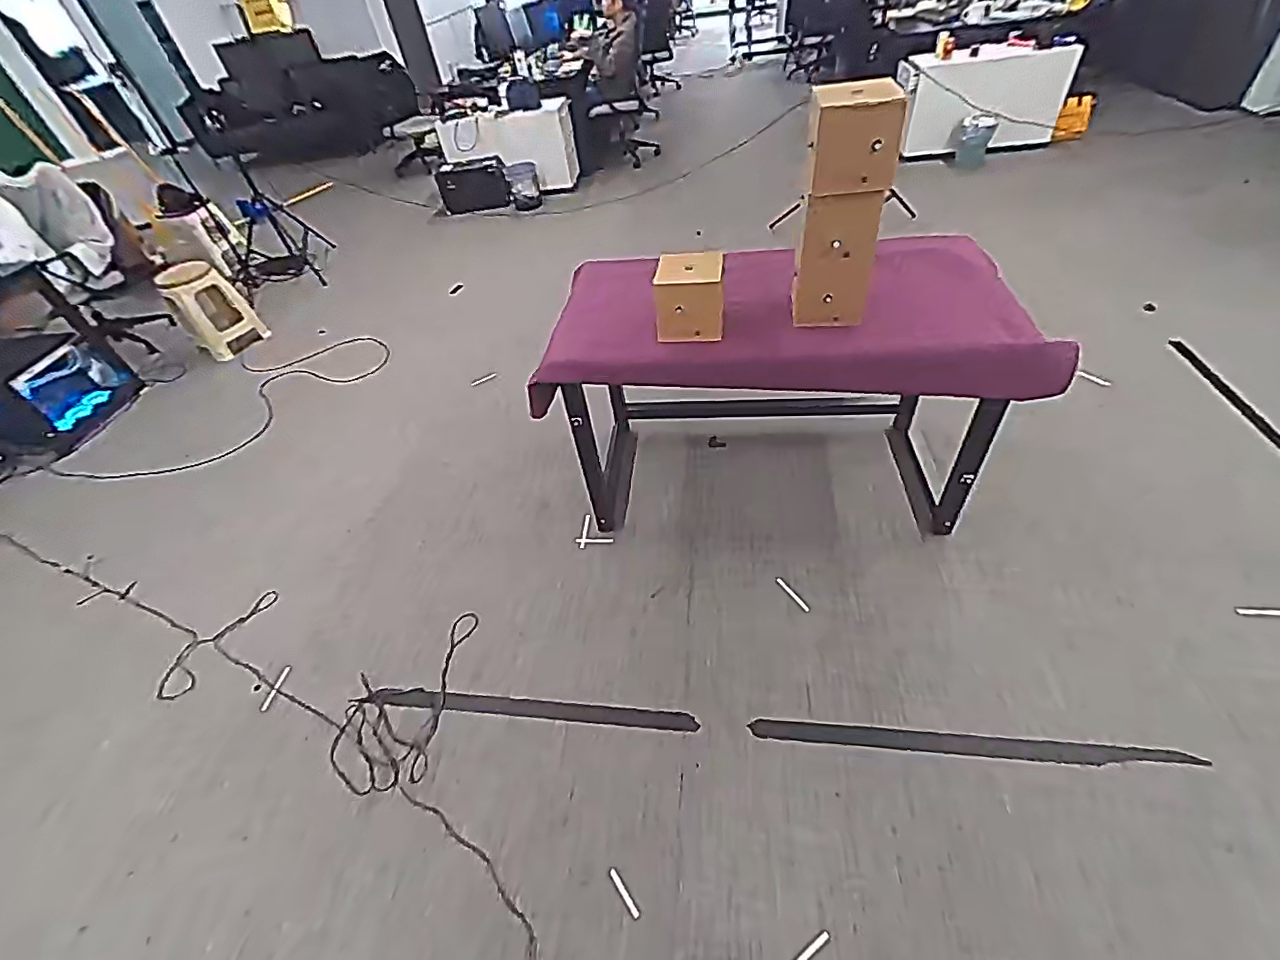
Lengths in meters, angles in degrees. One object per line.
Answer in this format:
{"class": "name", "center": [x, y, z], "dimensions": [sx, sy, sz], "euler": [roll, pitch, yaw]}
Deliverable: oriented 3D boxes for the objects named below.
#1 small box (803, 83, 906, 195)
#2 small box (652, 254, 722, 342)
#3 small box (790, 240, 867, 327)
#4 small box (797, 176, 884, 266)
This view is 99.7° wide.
{"class": "small box", "center": [0.449, -0.725, 1.160], "dimensions": [0.168, 0.176, 0.179], "euler": [0, 45, 8]}
{"class": "small box", "center": [0.130, -0.476, 1.429], "dimensions": [0.168, 0.176, 0.179], "euler": [1, 45, 10]}
{"class": "small box", "center": [0.483, -0.511, 1.404], "dimensions": [0.168, 0.176, 0.179], "euler": [2, 46, 11]}
{"class": "small box", "center": [0.468, -0.628, 1.290], "dimensions": [0.168, 0.176, 0.179], "euler": [2, 47, 11]}
